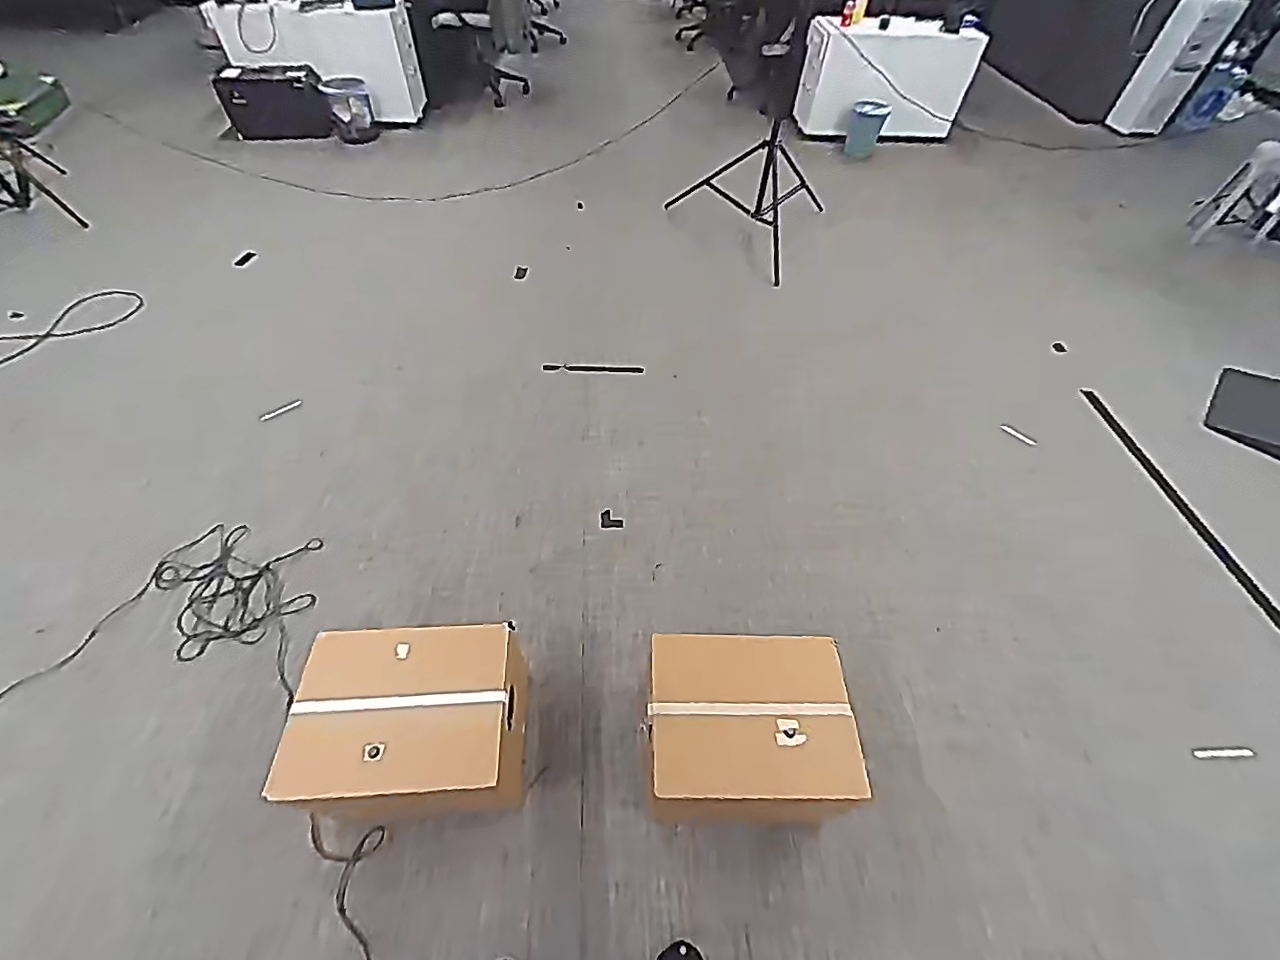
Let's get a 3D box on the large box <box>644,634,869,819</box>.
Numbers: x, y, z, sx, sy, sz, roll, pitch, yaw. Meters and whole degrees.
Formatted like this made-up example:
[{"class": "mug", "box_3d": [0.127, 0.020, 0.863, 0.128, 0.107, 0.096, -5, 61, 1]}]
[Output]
[{"class": "large box", "box_3d": [0.221, 0.554, 1.207, 0.408, 0.320, 0.320, 2, 51, -3]}]
